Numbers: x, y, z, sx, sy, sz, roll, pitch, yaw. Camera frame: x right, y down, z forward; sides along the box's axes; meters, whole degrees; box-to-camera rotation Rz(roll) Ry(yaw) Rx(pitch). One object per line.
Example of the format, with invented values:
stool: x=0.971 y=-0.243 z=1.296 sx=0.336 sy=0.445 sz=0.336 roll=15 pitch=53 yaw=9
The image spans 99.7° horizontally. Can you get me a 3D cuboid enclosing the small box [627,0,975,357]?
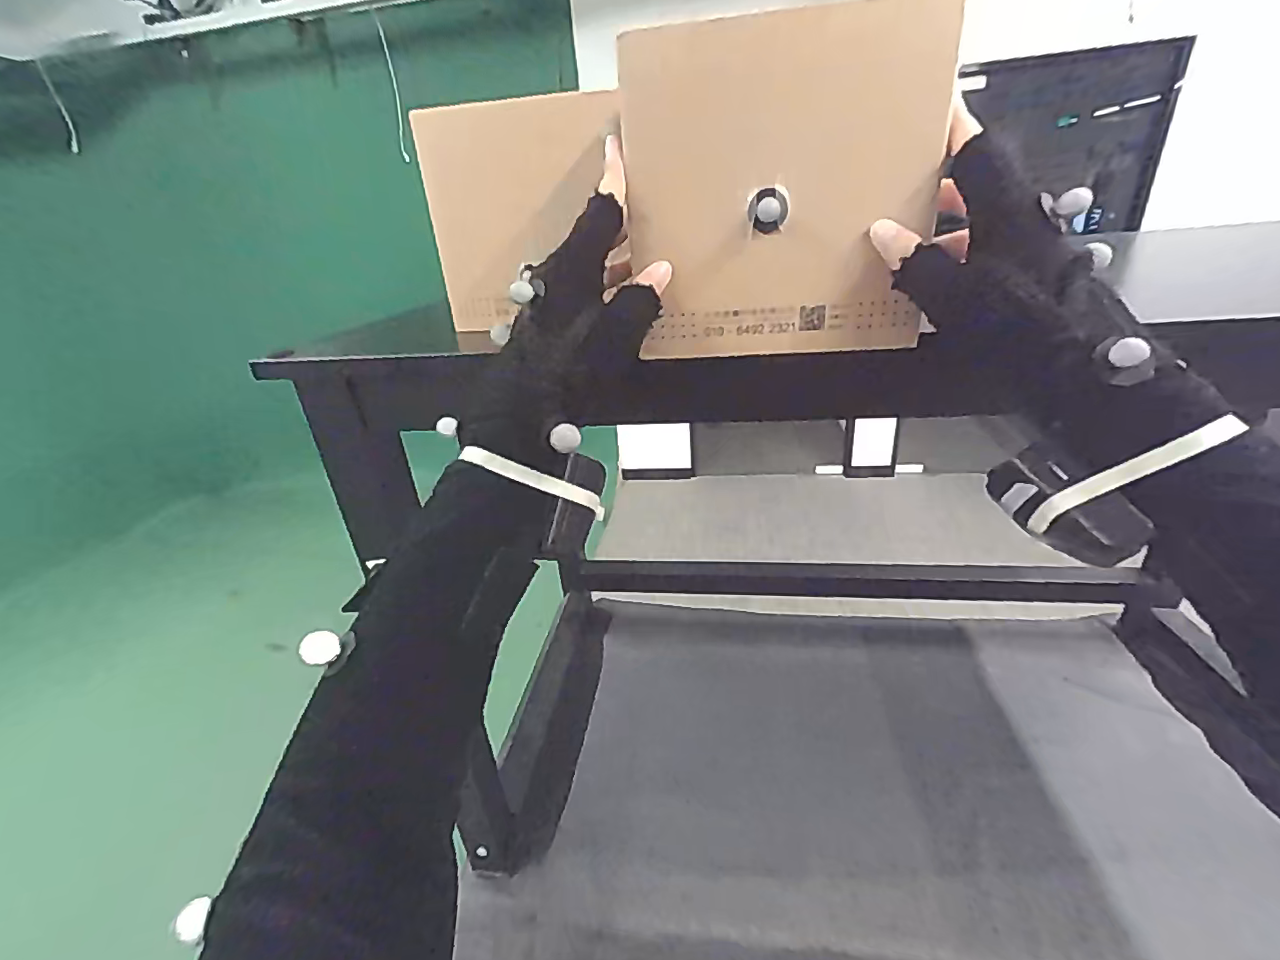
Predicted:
small box: x=0.090 y=-0.182 z=0.363 sx=0.168 sy=0.176 sz=0.179 roll=0 pitch=26 yaw=8
